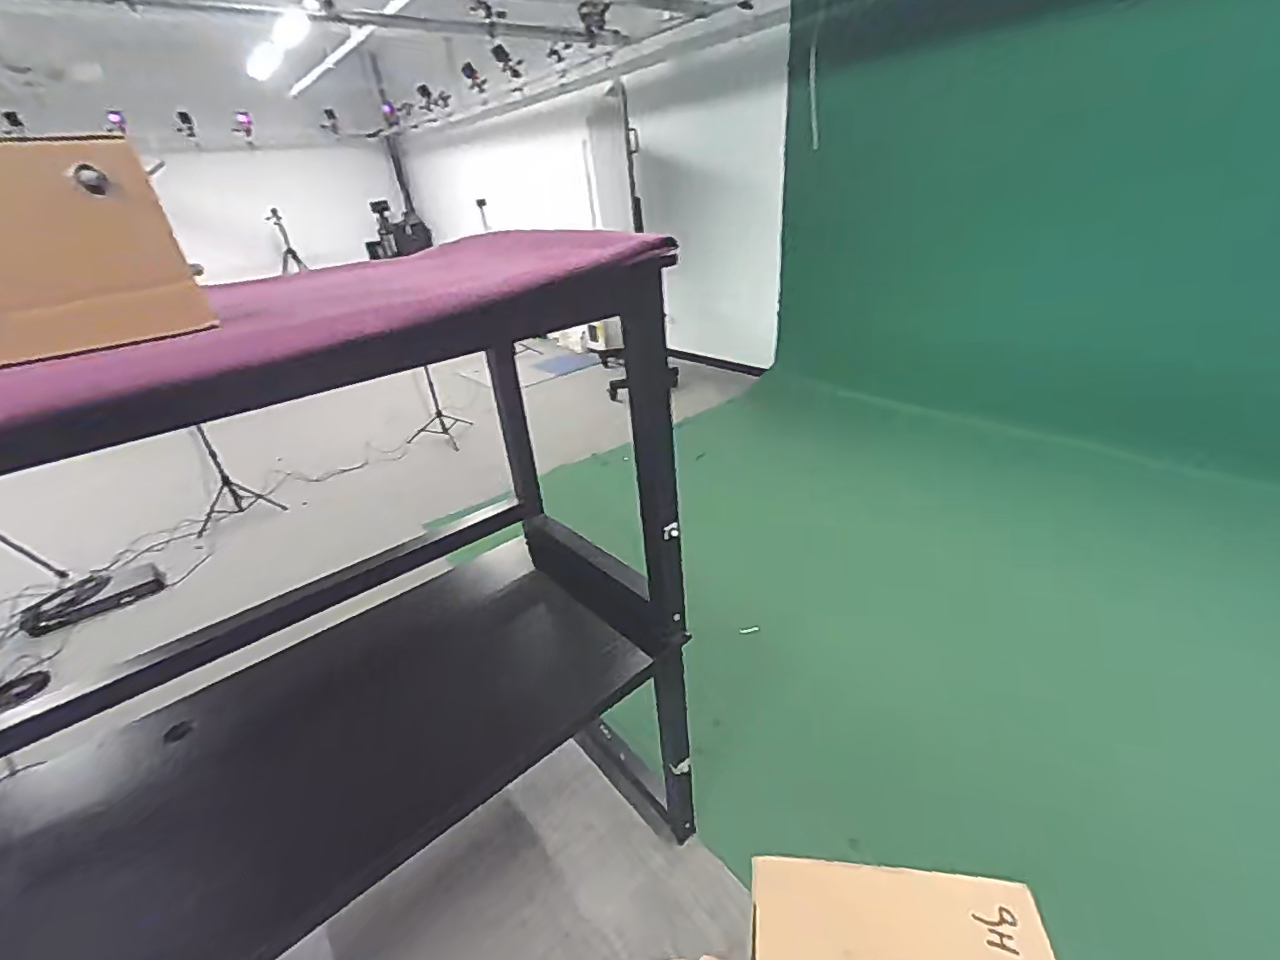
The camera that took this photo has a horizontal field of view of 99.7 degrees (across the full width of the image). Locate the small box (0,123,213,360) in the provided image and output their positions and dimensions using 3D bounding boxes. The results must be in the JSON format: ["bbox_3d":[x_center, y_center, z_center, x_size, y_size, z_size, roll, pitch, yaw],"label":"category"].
[{"bbox_3d":[-0.547,-0.219,0.508,0.179,0.176,0.168,-26,33,-33],"label":"small box"}]
